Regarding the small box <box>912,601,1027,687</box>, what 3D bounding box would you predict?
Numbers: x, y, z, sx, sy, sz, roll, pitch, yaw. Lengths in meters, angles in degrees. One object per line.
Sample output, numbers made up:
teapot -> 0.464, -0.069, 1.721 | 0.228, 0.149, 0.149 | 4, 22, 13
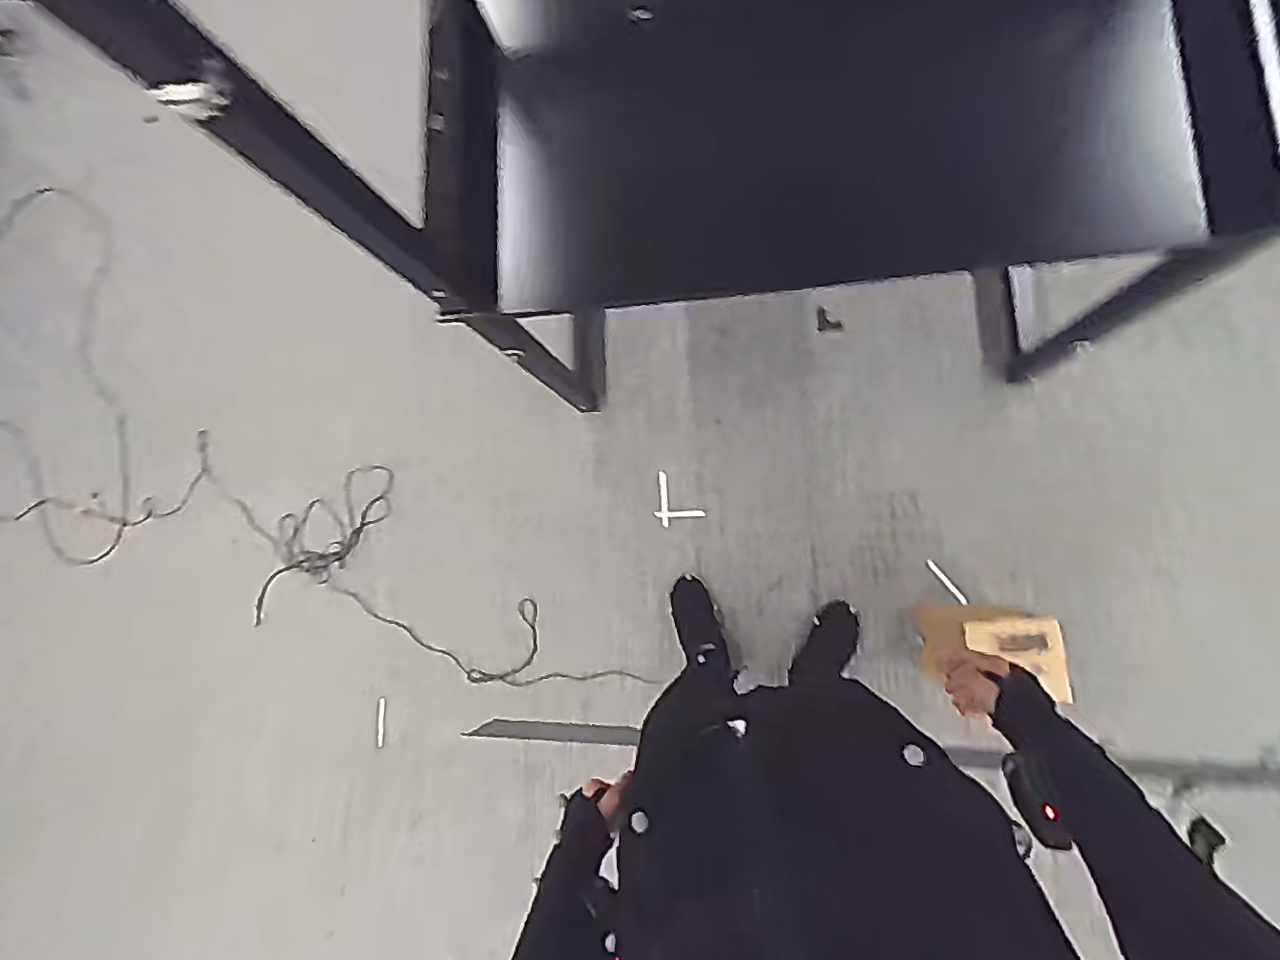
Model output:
small box -> 0.758, 0.376, 1.259 | 0.179, 0.176, 0.168 | -4, 83, 11
